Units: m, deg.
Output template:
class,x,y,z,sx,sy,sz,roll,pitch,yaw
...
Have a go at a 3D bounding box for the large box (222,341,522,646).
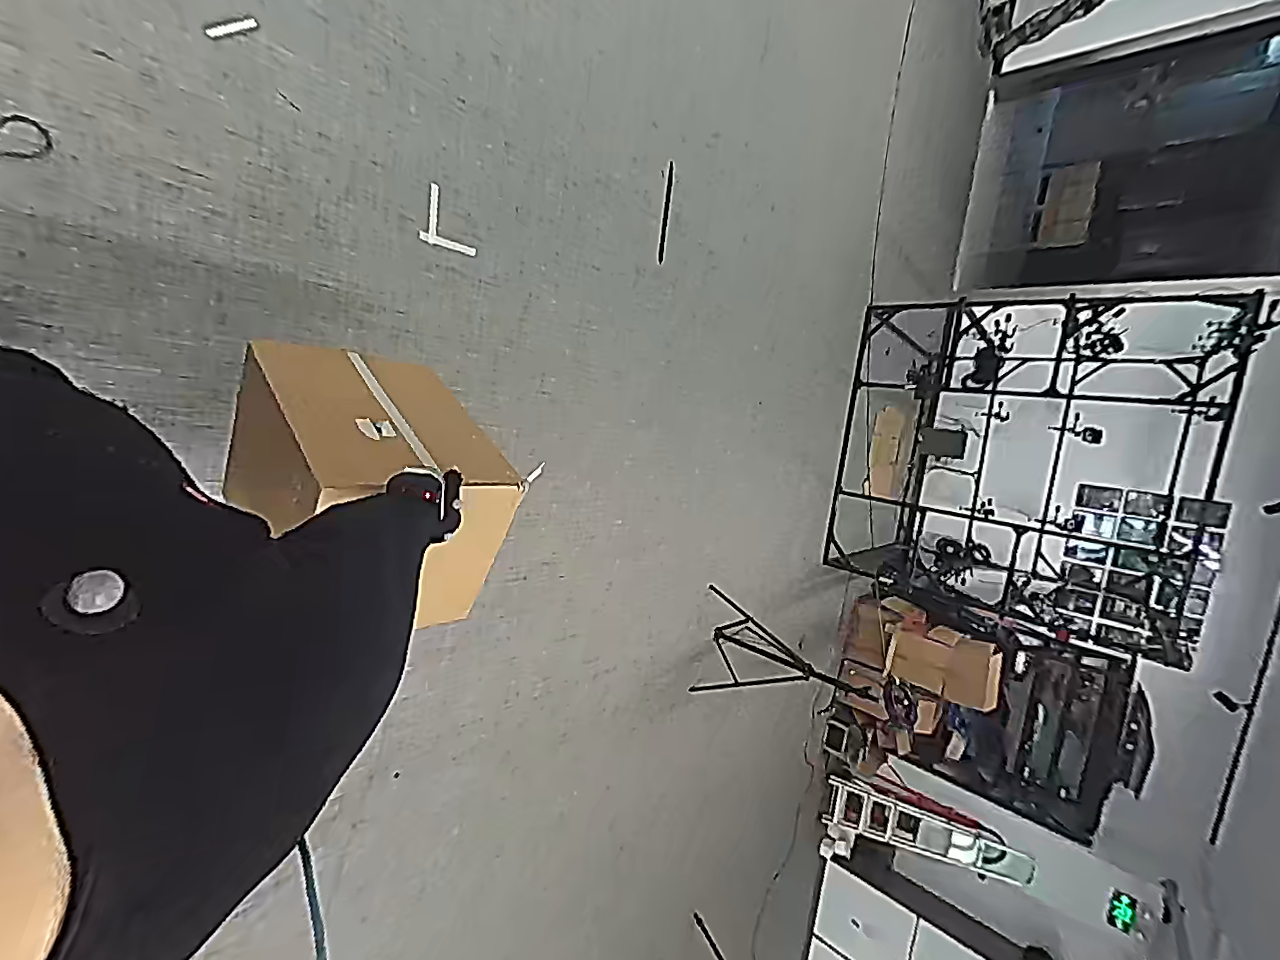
class,x,y,z,sx,sy,sz,roll,pitch,yaw
large box,-0.486,0.012,0.952,0.320,0.408,0.320,-1,128,-49
